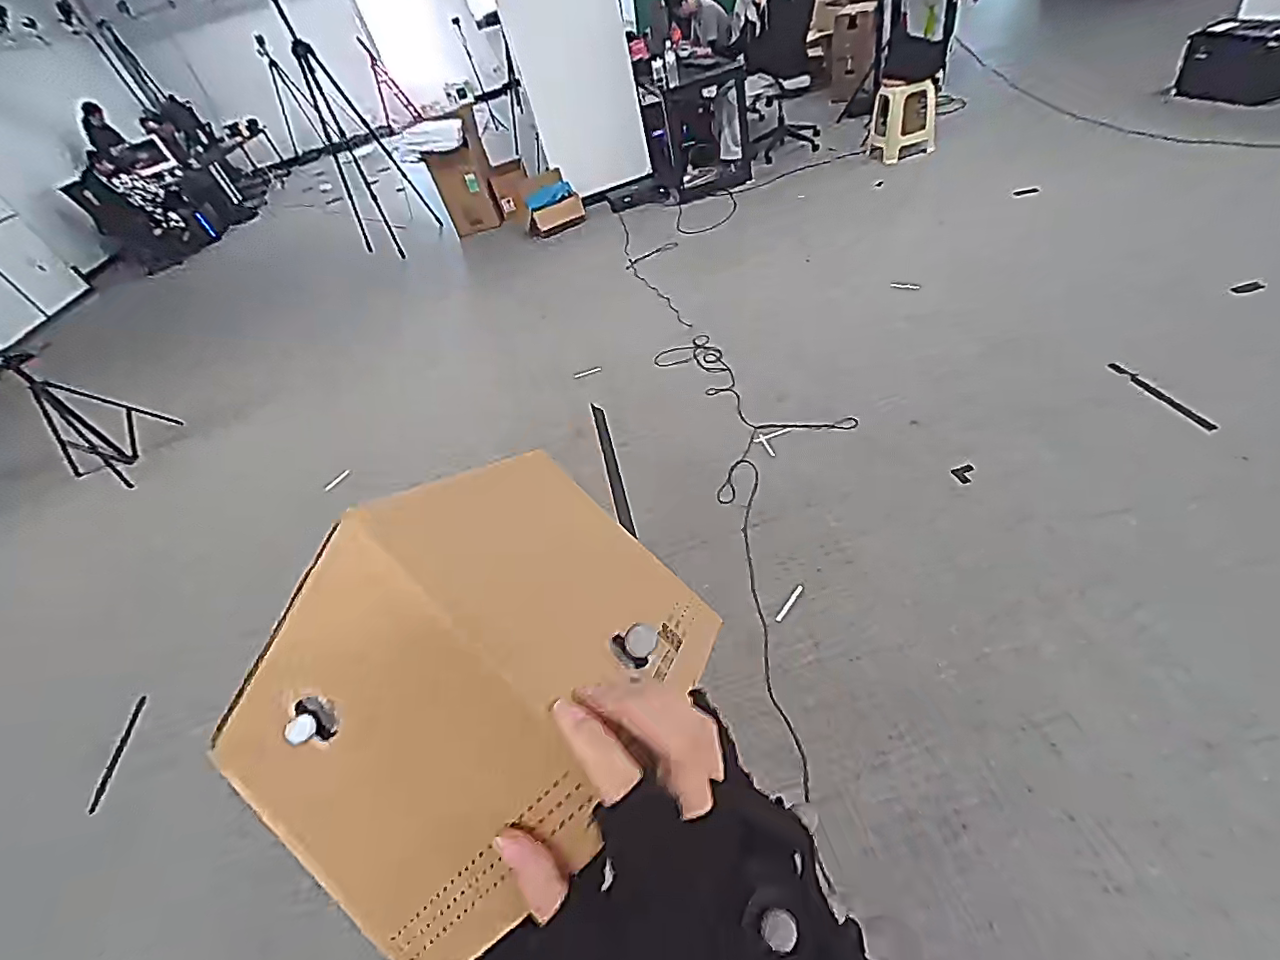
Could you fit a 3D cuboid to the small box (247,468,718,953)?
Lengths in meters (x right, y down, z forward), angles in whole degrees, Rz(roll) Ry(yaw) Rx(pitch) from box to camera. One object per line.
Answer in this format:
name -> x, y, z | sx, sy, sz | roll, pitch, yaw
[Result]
small box -> -0.081, 0.124, 0.329 | 0.176, 0.179, 0.168 | 41, 22, 6
